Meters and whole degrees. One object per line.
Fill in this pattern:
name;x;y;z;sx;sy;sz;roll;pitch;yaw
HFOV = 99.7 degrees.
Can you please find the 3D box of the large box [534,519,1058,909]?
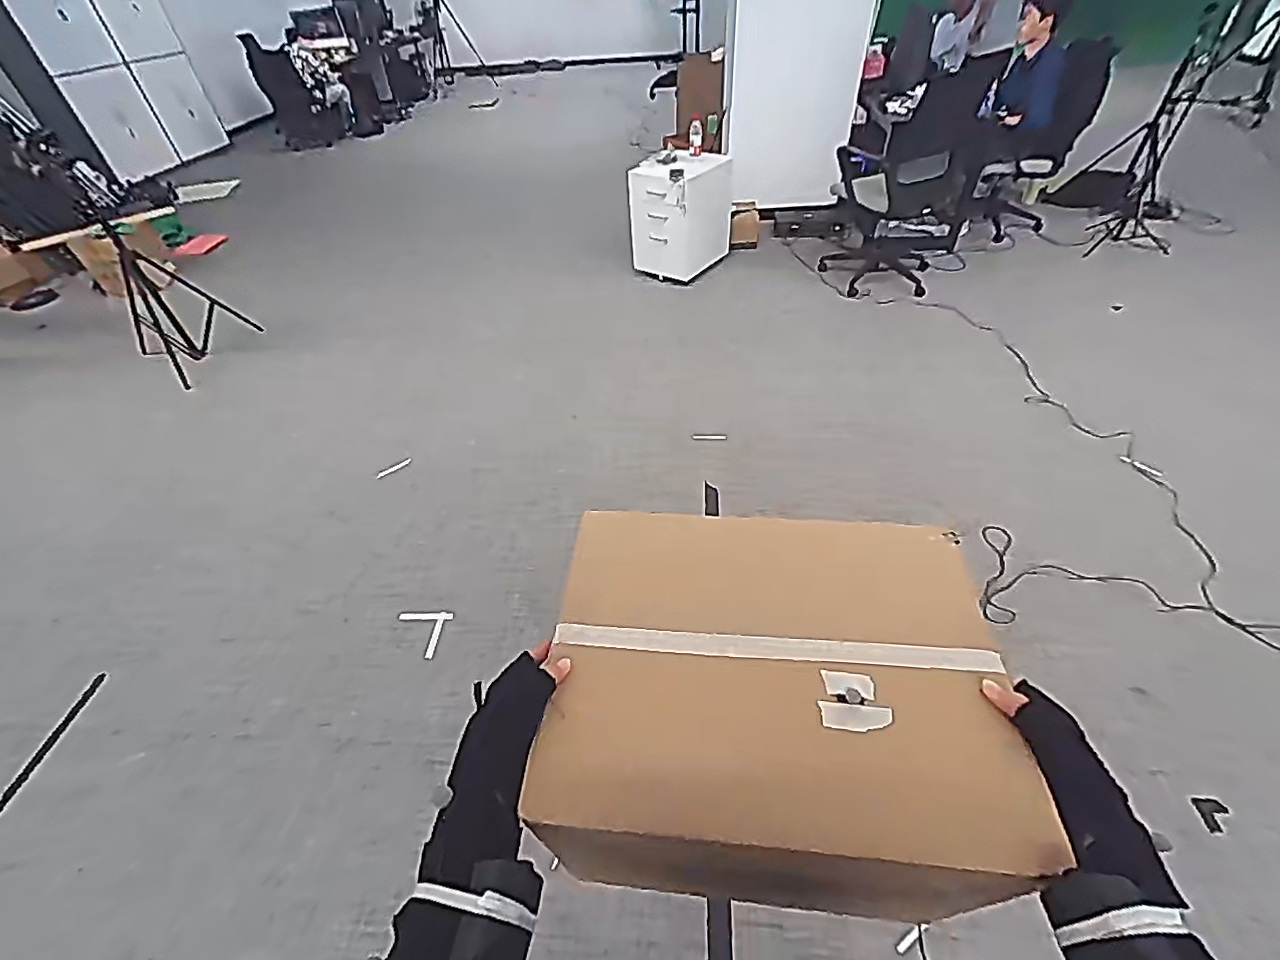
large box;0.128;0.264;0.619;0.408;0.320;0.320;2;48;6
